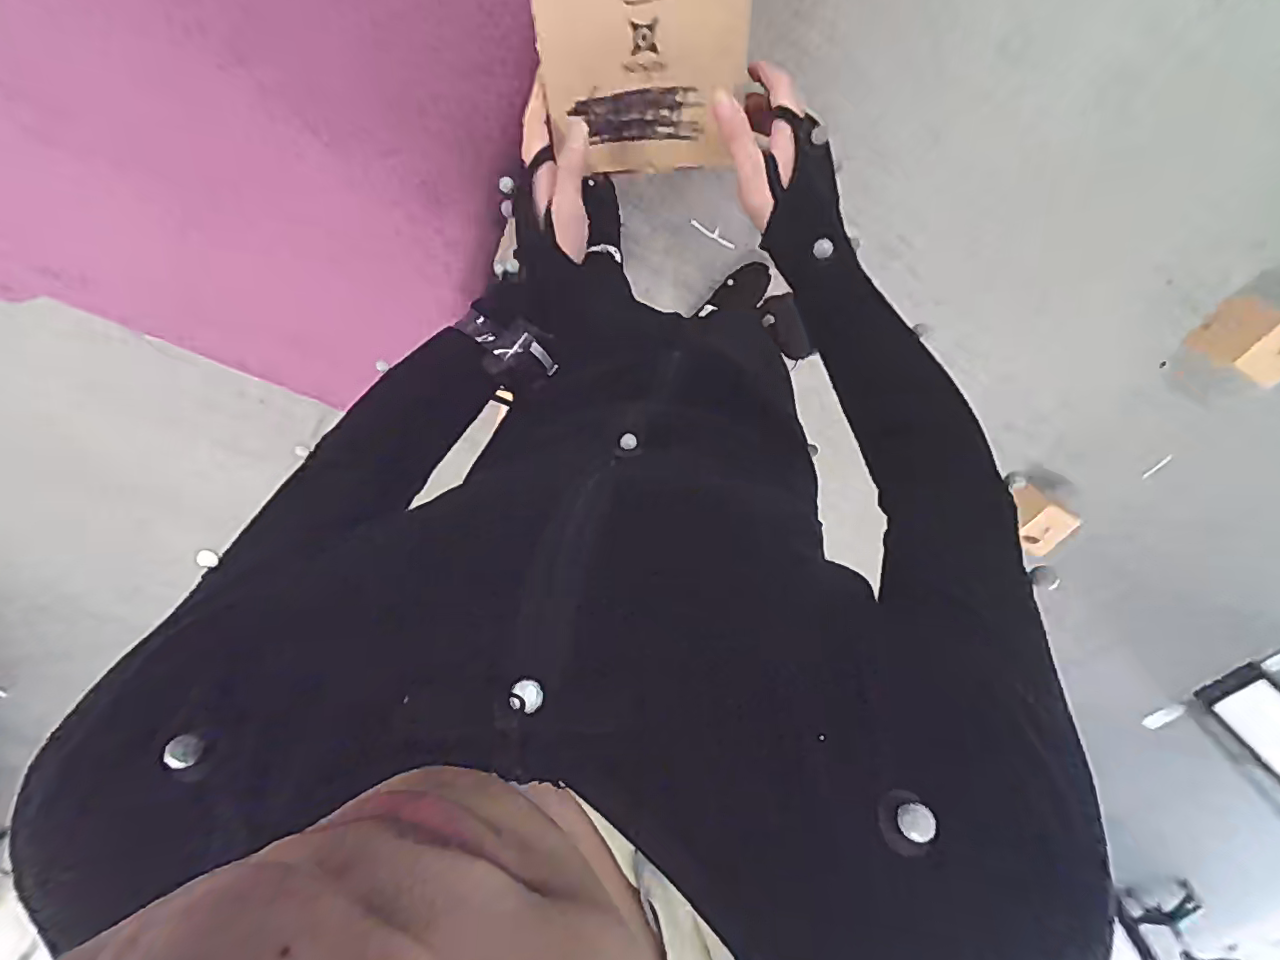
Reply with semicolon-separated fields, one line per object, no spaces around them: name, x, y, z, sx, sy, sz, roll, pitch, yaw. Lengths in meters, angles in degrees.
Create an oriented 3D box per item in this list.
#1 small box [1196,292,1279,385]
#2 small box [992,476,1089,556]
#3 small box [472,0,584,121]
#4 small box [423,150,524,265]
small box;1.708;-0.393;1.481;0.179;0.176;0.168;22;122;-16
small box;1.336;0.118;1.823;0.168;0.176;0.179;23;121;-16
small box;-0.221;-0.871;1.103;0.168;0.176;0.179;24;121;-16
small box;-0.382;-0.638;1.262;0.168;0.176;0.179;22;121;-16
